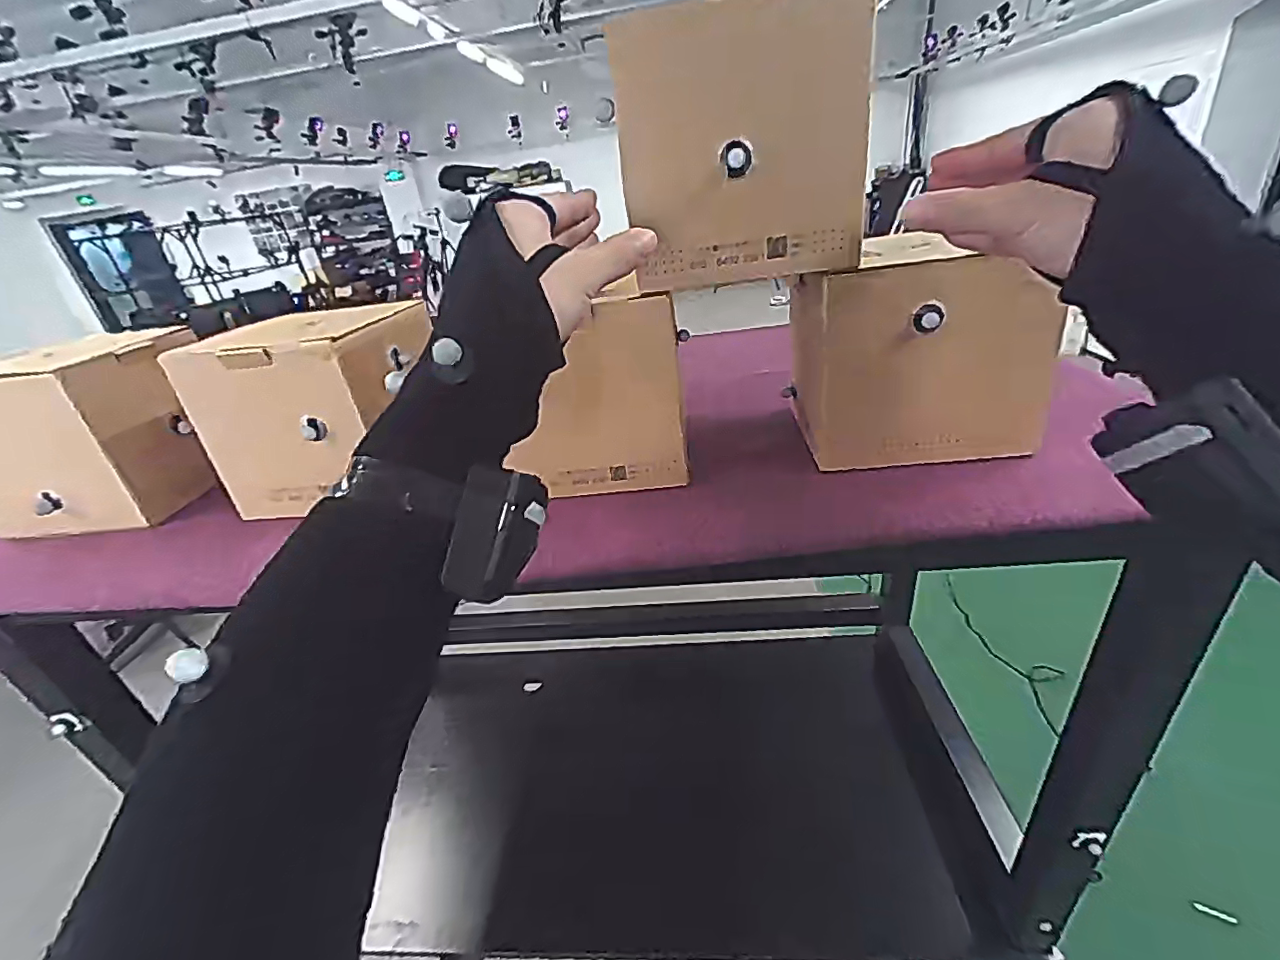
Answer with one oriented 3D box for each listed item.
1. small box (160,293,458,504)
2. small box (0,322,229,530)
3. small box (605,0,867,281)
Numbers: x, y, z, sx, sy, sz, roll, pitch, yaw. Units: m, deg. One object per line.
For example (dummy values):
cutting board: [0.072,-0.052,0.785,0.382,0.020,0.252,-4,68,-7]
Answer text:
small box: [-0.309,-0.083,0.555,0.168,0.176,0.179,-3,27,8]
small box: [-0.581,-0.061,0.582,0.179,0.176,0.168,-5,28,4]
small box: [0.073,-0.262,0.436,0.168,0.176,0.179,-5,27,6]
